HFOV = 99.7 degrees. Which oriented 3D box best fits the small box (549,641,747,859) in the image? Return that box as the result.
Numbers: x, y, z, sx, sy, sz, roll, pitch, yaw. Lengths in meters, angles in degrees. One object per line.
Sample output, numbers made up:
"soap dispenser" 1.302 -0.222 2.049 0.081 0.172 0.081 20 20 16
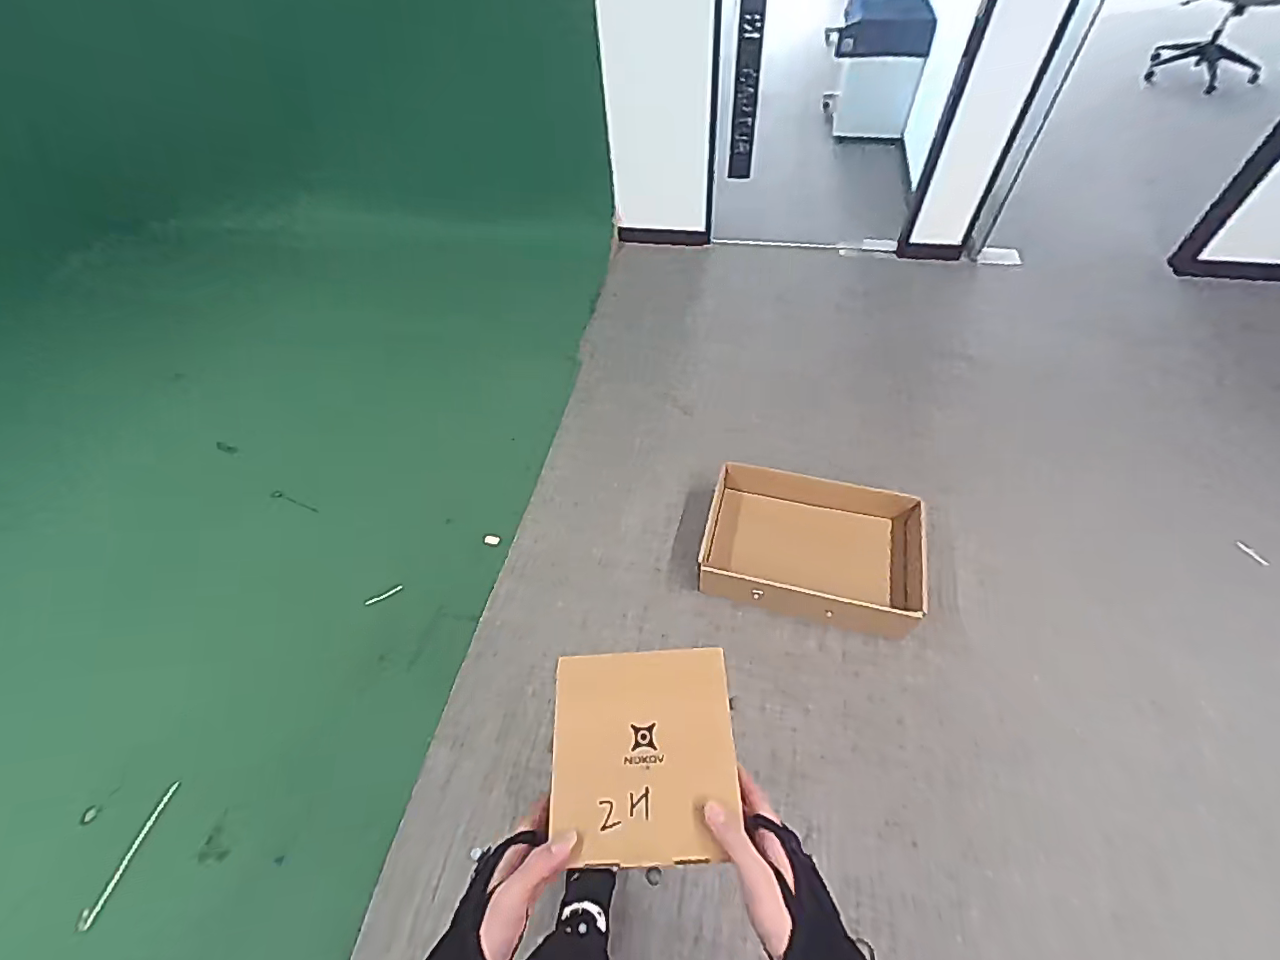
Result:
"small box" 0.011 0.280 0.554 0.168 0.176 0.179 -4 56 4
